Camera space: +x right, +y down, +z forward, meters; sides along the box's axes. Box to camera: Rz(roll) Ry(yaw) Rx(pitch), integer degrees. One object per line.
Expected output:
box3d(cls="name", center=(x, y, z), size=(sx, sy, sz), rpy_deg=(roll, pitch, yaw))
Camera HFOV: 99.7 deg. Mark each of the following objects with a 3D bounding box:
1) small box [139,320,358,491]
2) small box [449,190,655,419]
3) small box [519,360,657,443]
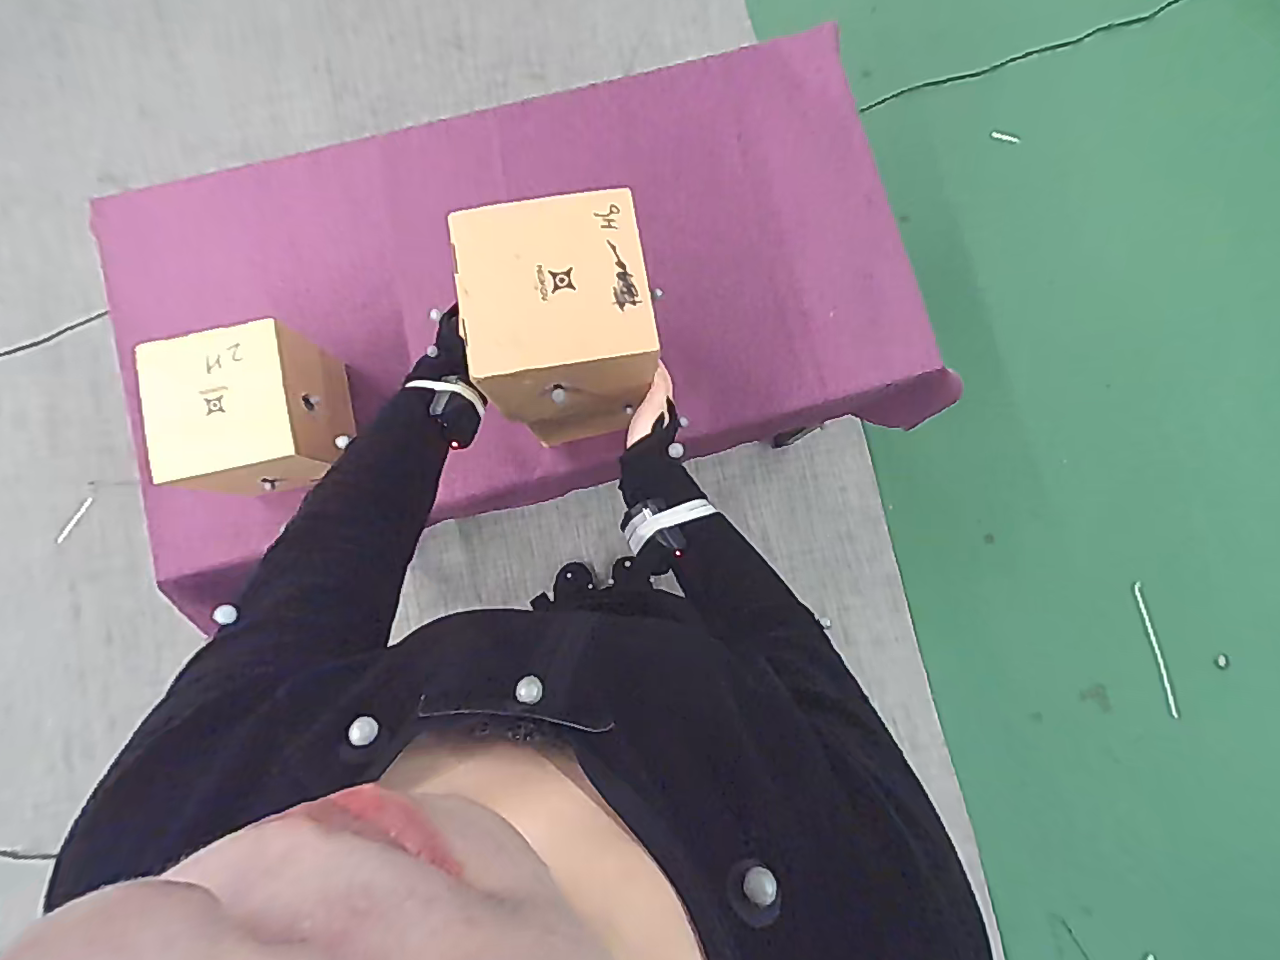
box3d(cls="small box", center=(-0.502, -0.086, 0.719), size=(0.168, 0.176, 0.179), rpy_deg=(-12, 84, -3))
box3d(cls="small box", center=(-0.082, -0.171, 0.575), size=(0.179, 0.176, 0.168), rpy_deg=(-9, 83, -2))
box3d(cls="small box", center=(-0.081, -0.157, 0.740), size=(0.179, 0.176, 0.168), rpy_deg=(-14, 84, -3))
